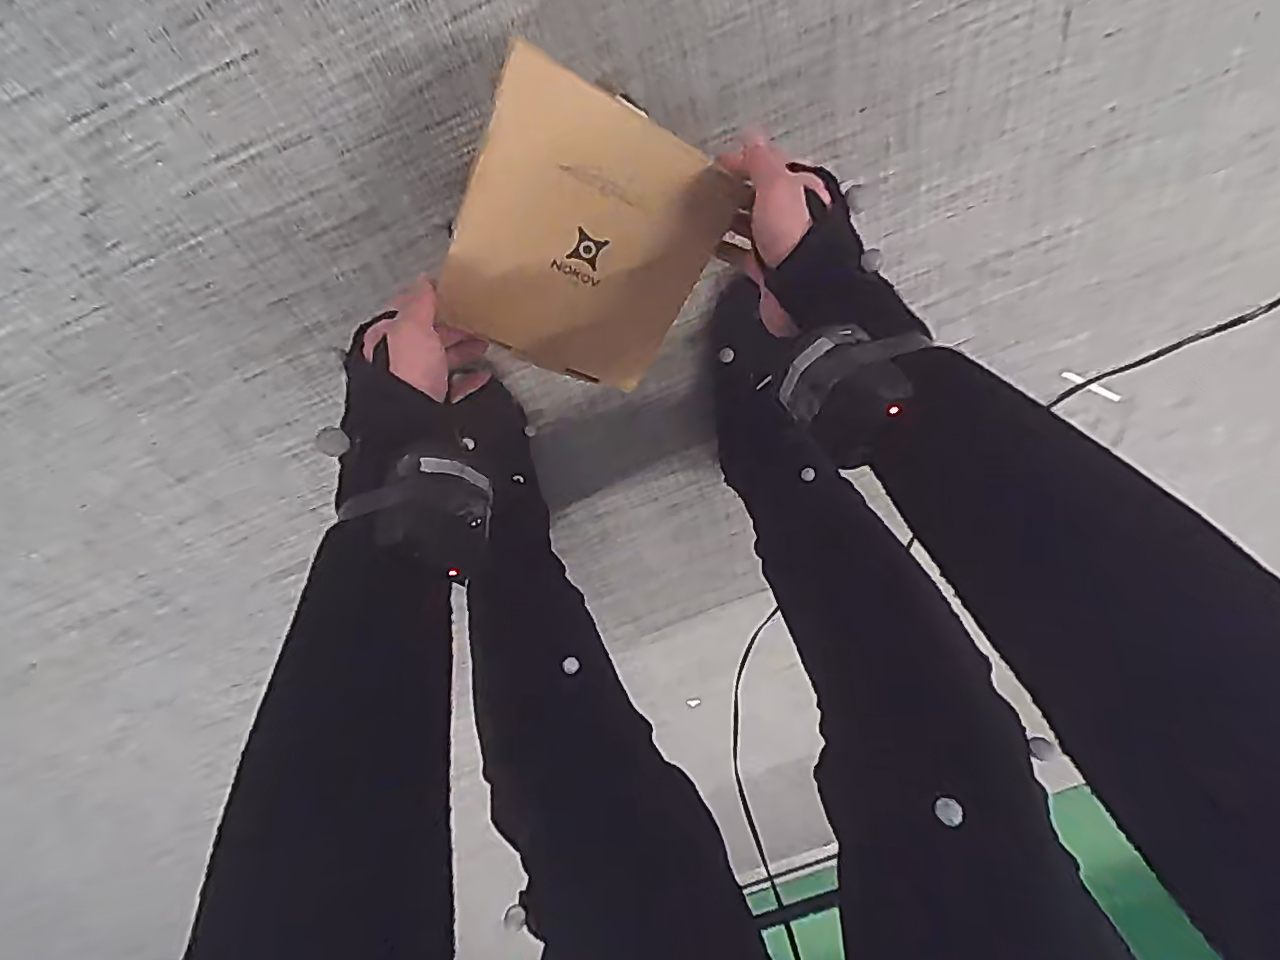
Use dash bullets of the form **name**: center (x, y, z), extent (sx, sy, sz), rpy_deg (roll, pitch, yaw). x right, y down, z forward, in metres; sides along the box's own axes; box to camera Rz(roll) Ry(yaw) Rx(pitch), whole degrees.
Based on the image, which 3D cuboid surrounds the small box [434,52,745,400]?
- **small box**: center (-0.051, -0.200, 0.434), extent (0.168, 0.176, 0.179), rpy_deg (16, 124, -26)
